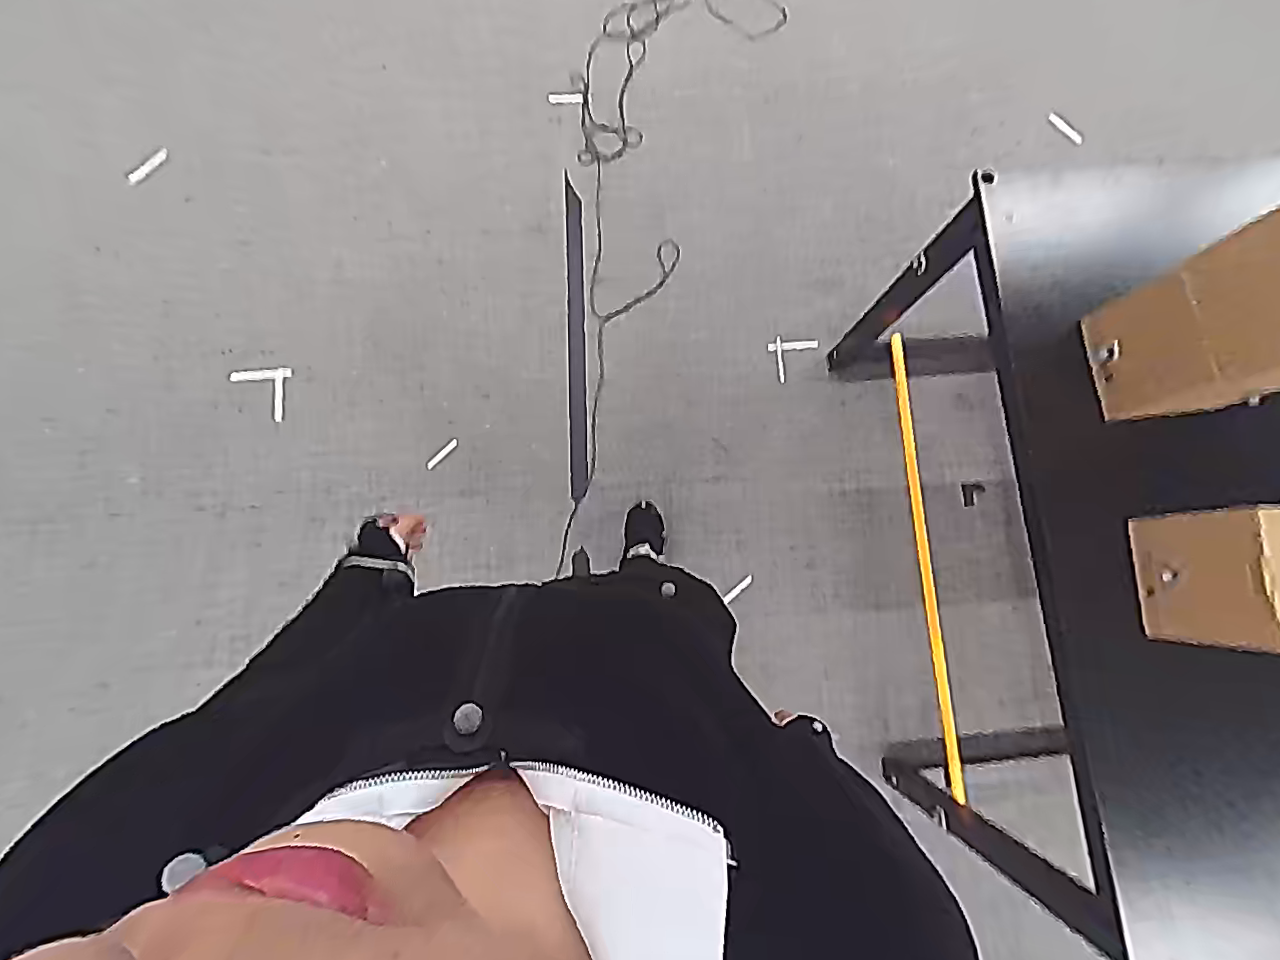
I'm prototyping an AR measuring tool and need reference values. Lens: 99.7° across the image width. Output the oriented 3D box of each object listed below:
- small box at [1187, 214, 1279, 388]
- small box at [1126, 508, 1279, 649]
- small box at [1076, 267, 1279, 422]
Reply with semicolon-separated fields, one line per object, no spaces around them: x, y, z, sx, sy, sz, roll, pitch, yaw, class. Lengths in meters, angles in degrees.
0.786;-0.220;0.607;0.168;0.176;0.179;-8;81;-3;small box
0.808;0.128;0.713;0.179;0.176;0.168;1;80;-2;small box
0.785;-0.190;0.769;0.179;0.176;0.168;-7;79;-2;small box
